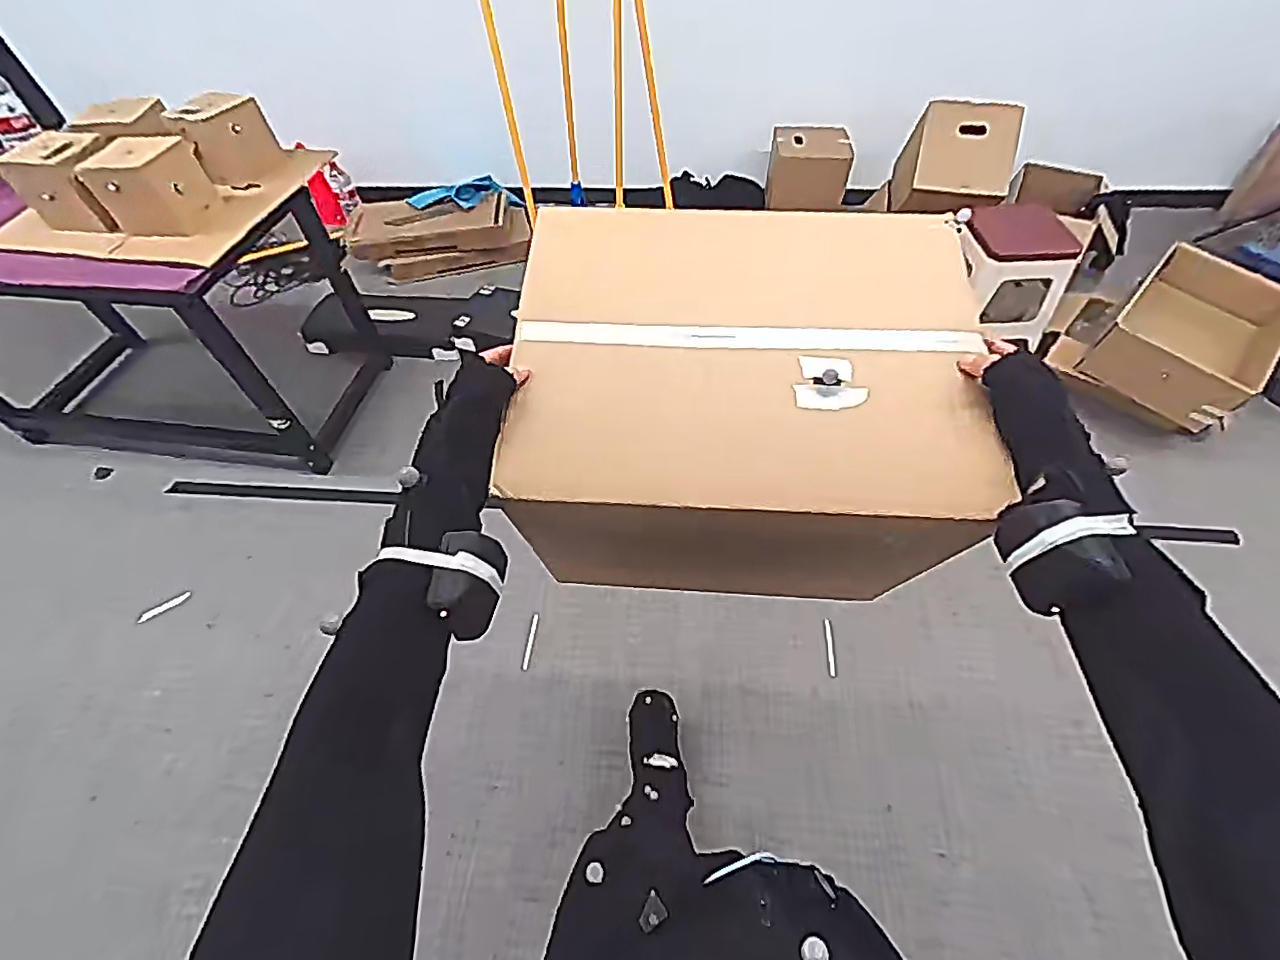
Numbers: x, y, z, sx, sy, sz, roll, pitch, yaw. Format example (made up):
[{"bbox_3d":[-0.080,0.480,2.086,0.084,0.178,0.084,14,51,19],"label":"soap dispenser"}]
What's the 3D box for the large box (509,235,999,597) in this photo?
[{"bbox_3d":[0.097,-0.051,0.630,0.408,0.320,0.320,2,68,3],"label":"large box"}]
